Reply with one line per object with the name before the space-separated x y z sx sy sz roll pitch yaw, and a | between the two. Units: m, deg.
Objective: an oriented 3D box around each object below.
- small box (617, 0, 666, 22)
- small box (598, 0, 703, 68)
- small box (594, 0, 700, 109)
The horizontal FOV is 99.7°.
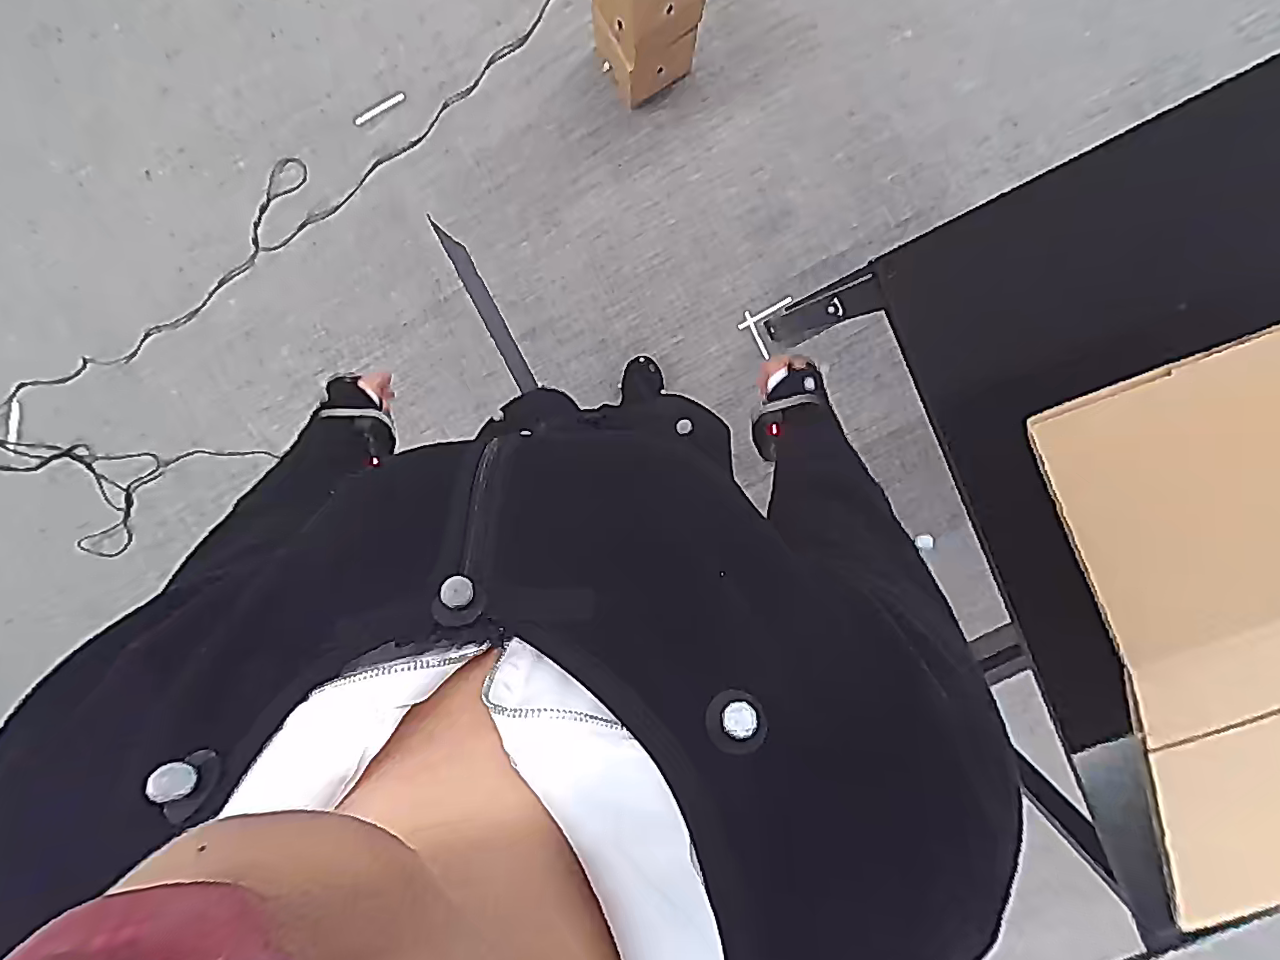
small box | 0.014 -0.938 0.900 0.179 0.176 0.168 -35 98 5
small box | 0.018 -0.972 1.062 0.179 0.176 0.168 -33 100 4
small box | 0.014 -0.997 1.222 0.179 0.176 0.168 -30 99 6
